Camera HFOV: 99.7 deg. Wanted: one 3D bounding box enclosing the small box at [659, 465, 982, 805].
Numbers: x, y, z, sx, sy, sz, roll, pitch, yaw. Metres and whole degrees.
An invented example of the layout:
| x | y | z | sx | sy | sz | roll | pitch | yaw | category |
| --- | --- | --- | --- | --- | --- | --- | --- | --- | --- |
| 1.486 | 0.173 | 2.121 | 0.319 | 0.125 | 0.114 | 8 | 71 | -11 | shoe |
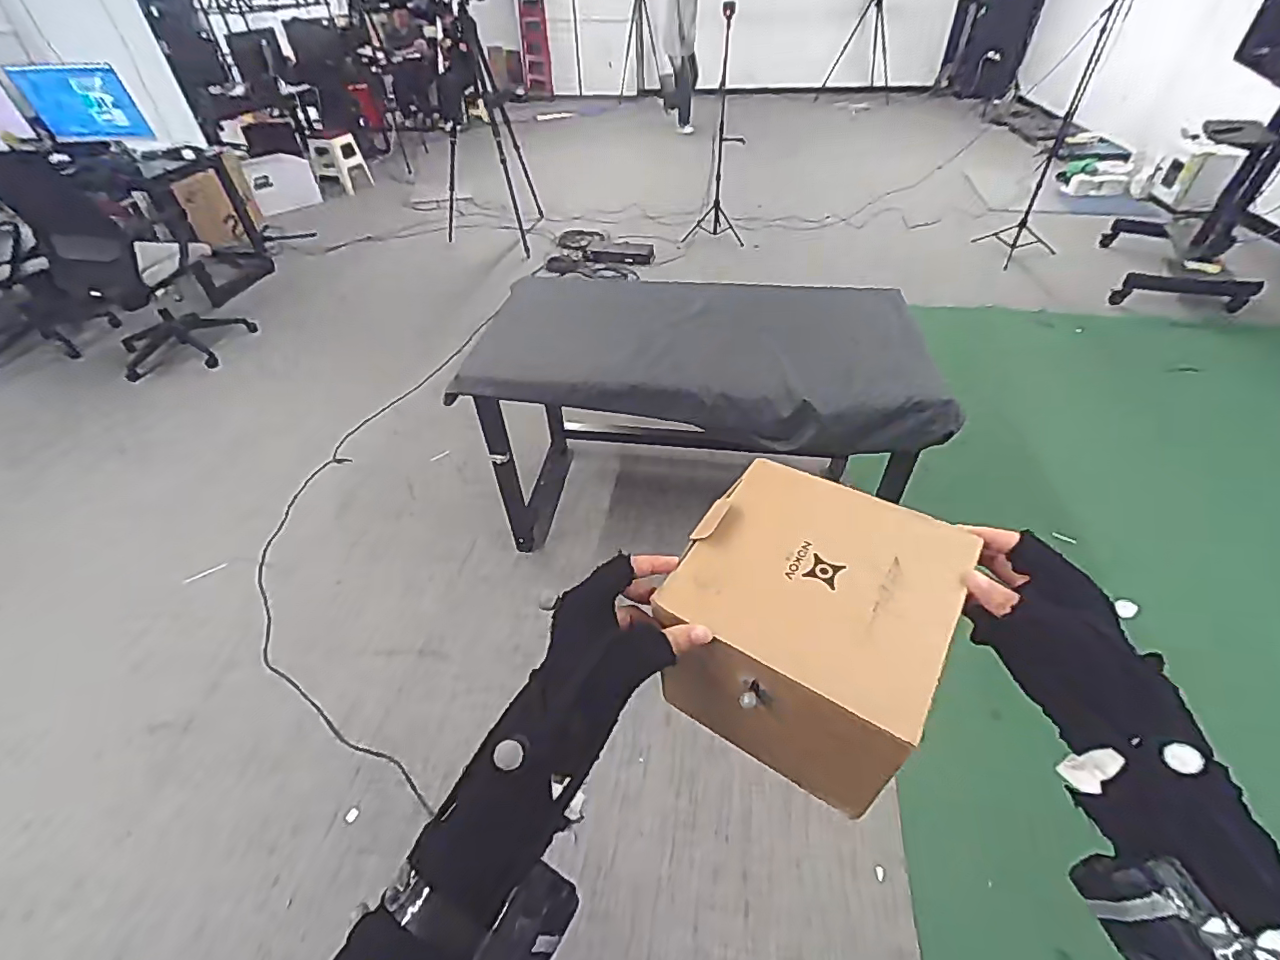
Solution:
| x | y | z | sx | sy | sz | roll | pitch | yaw | category |
| --- | --- | --- | --- | --- | --- | --- | --- | --- | --- |
| 0.133 | 0.122 | 0.433 | 0.179 | 0.176 | 0.168 | 23 | 53 | 25 | small box |
